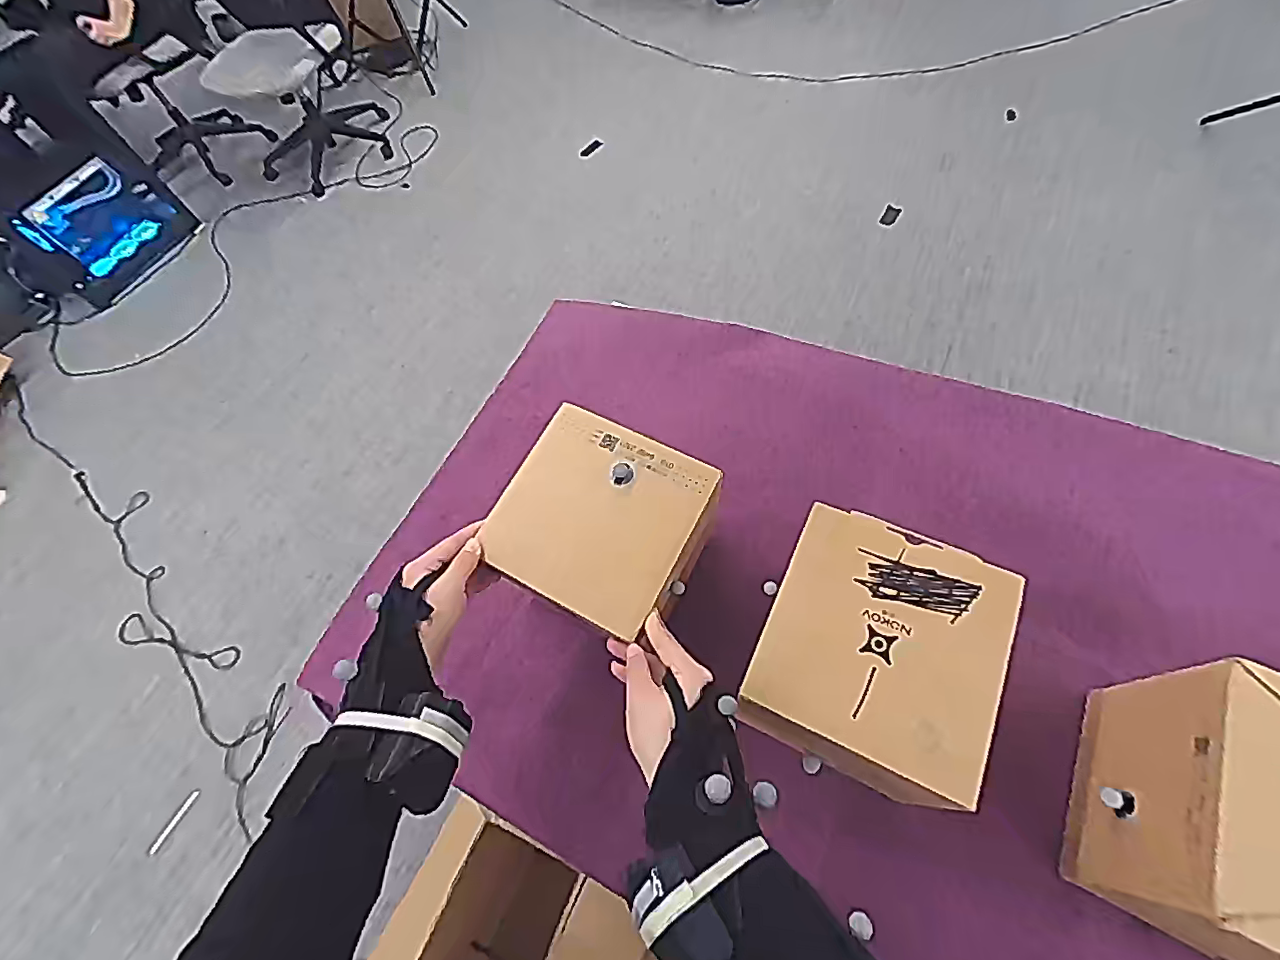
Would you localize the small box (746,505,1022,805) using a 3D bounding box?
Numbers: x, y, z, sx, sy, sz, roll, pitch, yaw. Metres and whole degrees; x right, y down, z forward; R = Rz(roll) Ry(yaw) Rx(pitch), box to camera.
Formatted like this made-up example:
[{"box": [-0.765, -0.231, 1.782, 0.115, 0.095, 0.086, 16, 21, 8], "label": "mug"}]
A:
[{"box": [0.199, 0.156, 0.483, 0.168, 0.176, 0.179, 21, 67, 19], "label": "small box"}]
